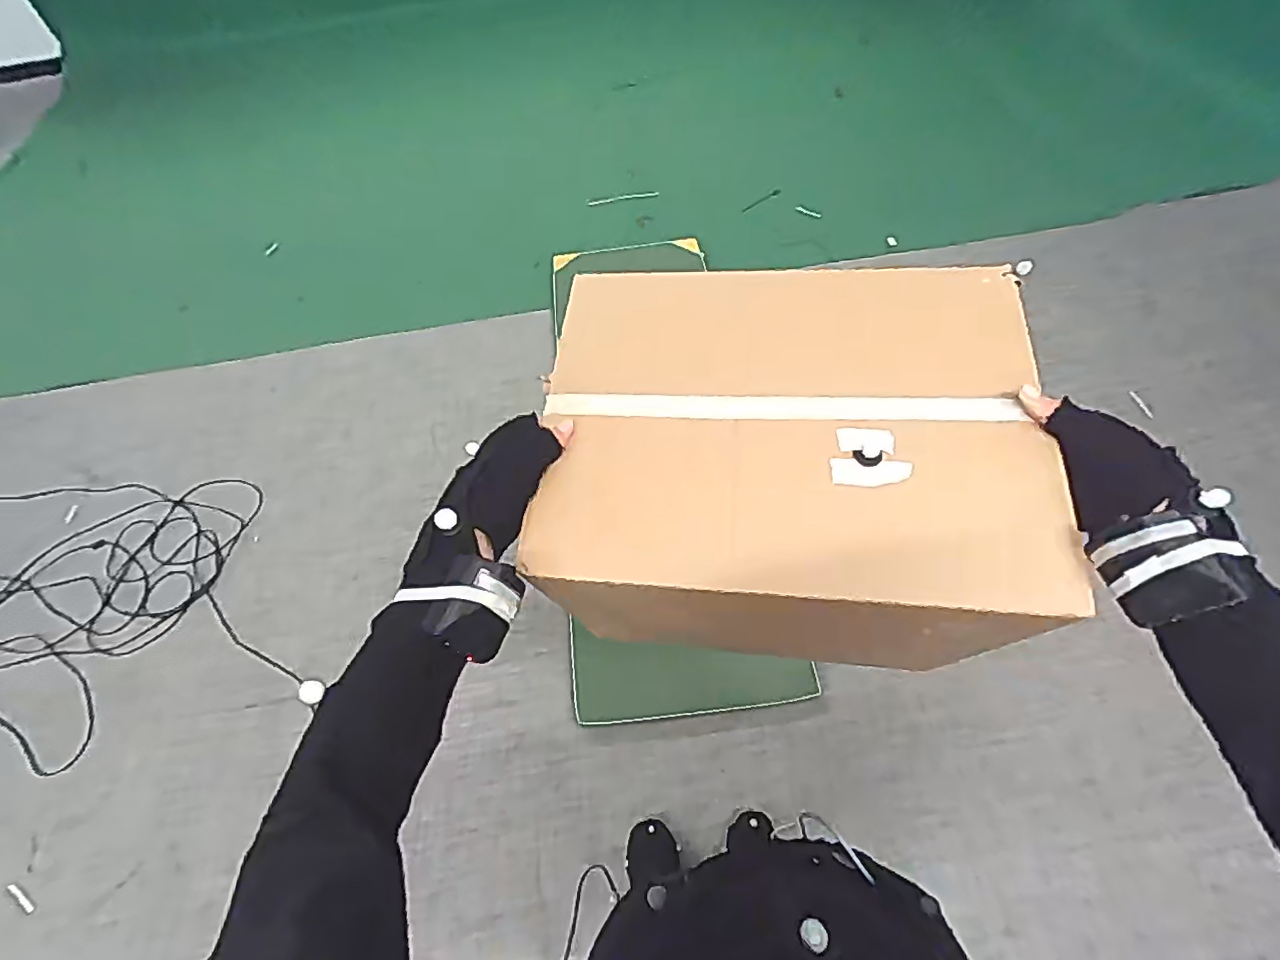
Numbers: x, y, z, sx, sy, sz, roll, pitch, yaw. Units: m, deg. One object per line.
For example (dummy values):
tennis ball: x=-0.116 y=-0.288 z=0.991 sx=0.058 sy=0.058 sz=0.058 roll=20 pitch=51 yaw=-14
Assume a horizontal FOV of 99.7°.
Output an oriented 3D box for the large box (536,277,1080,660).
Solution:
large box: x=0.139 y=0.007 z=0.597 sx=0.408 sy=0.320 sz=0.320 roll=3 pitch=65 yaw=8
